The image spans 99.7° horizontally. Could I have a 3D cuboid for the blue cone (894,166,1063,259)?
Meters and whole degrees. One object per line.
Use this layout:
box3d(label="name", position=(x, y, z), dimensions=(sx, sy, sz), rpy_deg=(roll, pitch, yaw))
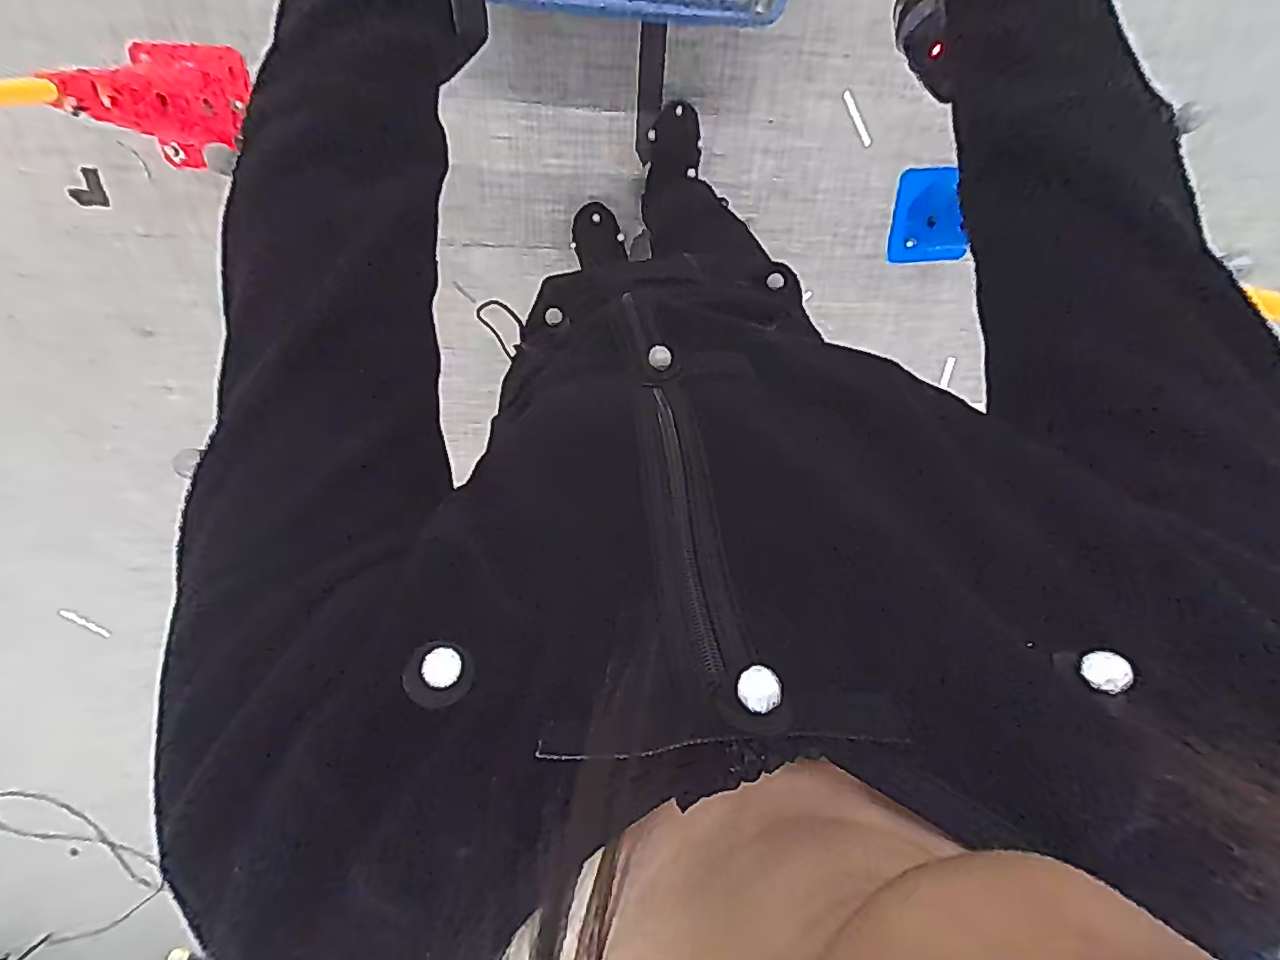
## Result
box3d(label="blue cone", position=(0.707, -0.537, 1.112), dimensions=(0.193, 0.380, 0.192), rpy_deg=(-4, 120, -5))
